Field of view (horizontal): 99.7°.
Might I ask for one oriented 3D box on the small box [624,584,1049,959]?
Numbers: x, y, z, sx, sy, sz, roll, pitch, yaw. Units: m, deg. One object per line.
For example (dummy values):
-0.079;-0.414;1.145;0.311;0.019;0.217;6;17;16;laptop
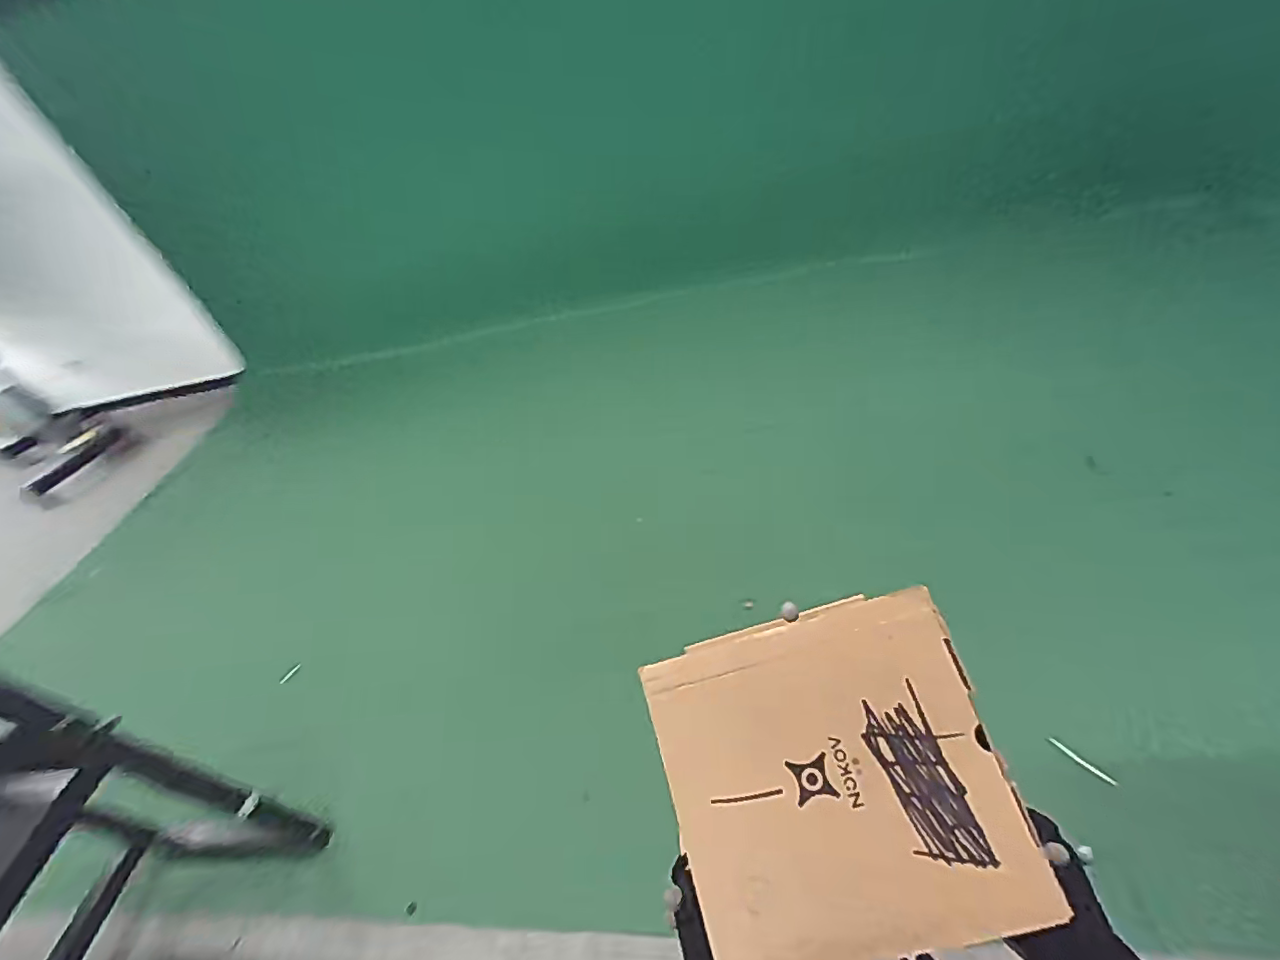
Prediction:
0.108;0.179;0.363;0.179;0.176;0.168;-20;69;8;small box
